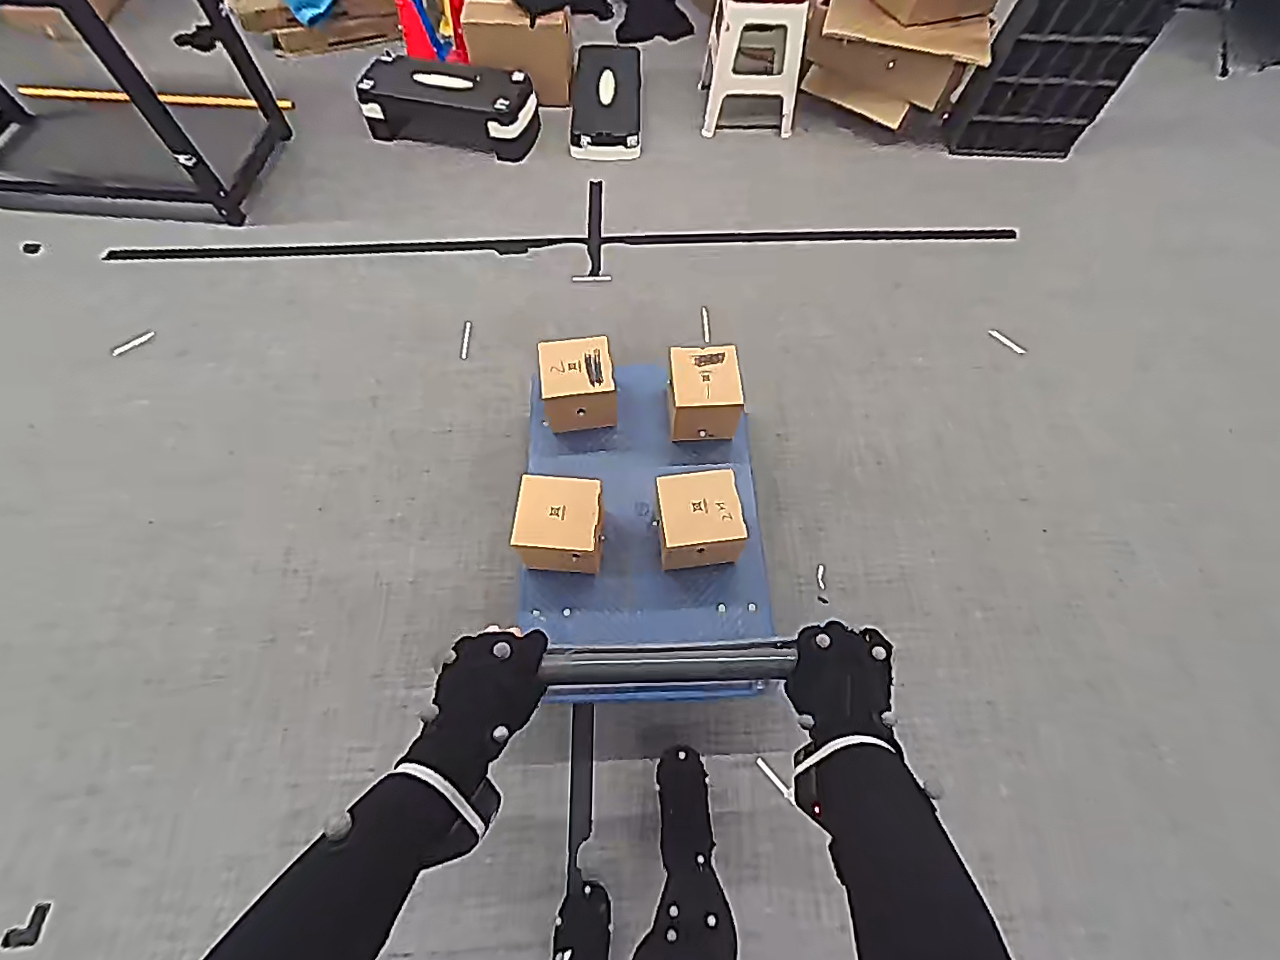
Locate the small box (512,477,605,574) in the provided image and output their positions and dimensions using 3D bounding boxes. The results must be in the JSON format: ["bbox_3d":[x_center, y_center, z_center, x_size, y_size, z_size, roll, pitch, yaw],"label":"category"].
[{"bbox_3d":[-0.176,0.109,1.228,0.179,0.176,0.168,5,64,0],"label":"small box"}]

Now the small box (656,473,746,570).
[{"bbox_3d":[0.130,0.101,1.235,0.179,0.176,0.168,-6,65,-3],"label":"small box"}]

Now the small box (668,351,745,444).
[{"bbox_3d":[0.162,-0.209,1.384,0.168,0.176,0.179,-2,65,-2],"label":"small box"}]
